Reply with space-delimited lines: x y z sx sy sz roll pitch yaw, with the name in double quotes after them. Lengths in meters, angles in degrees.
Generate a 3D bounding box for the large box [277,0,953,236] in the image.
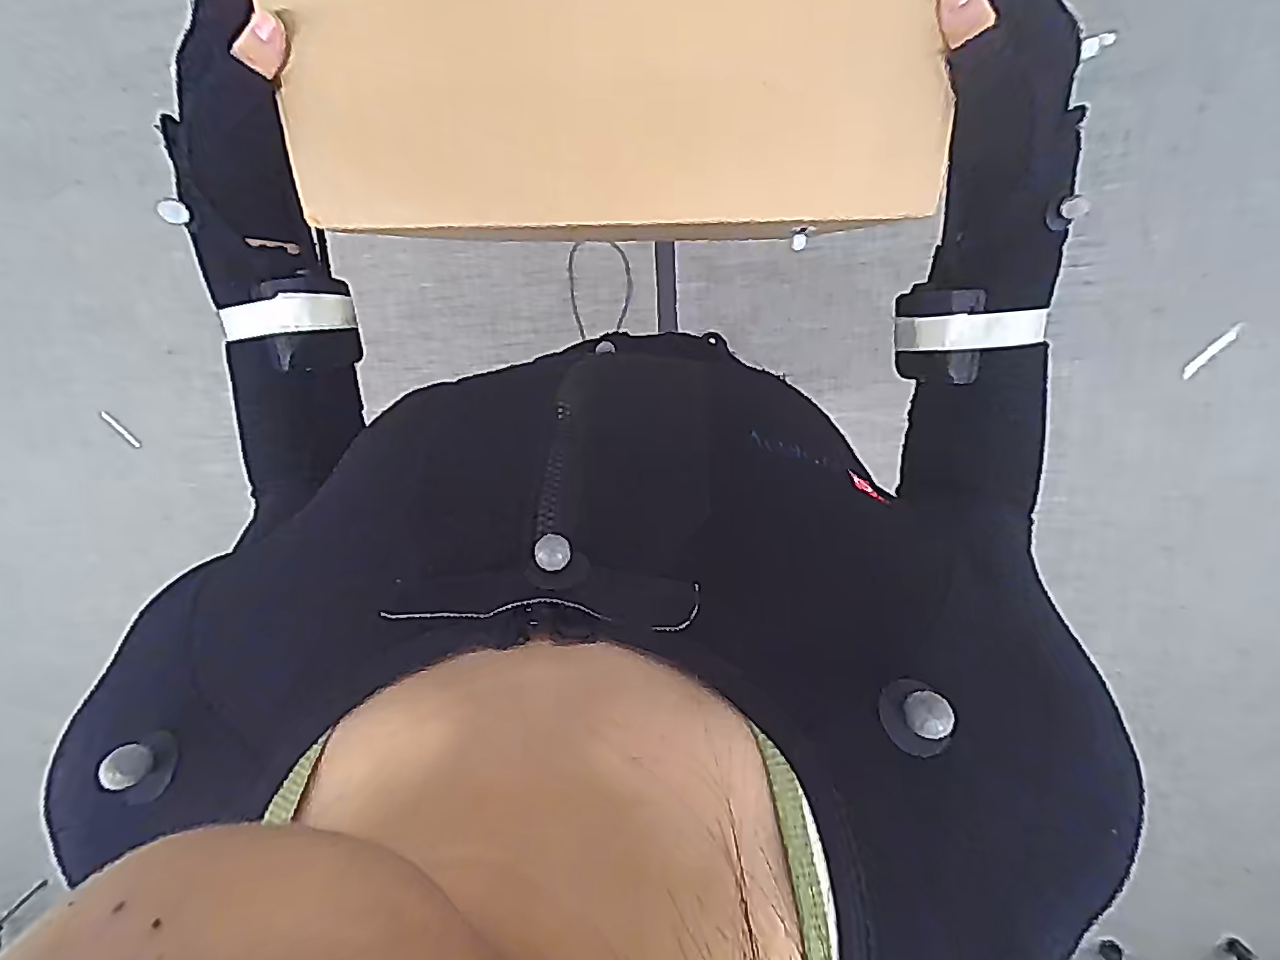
-0.011 -0.373 0.439 0.408 0.320 0.320 0 112 2 "large box"
